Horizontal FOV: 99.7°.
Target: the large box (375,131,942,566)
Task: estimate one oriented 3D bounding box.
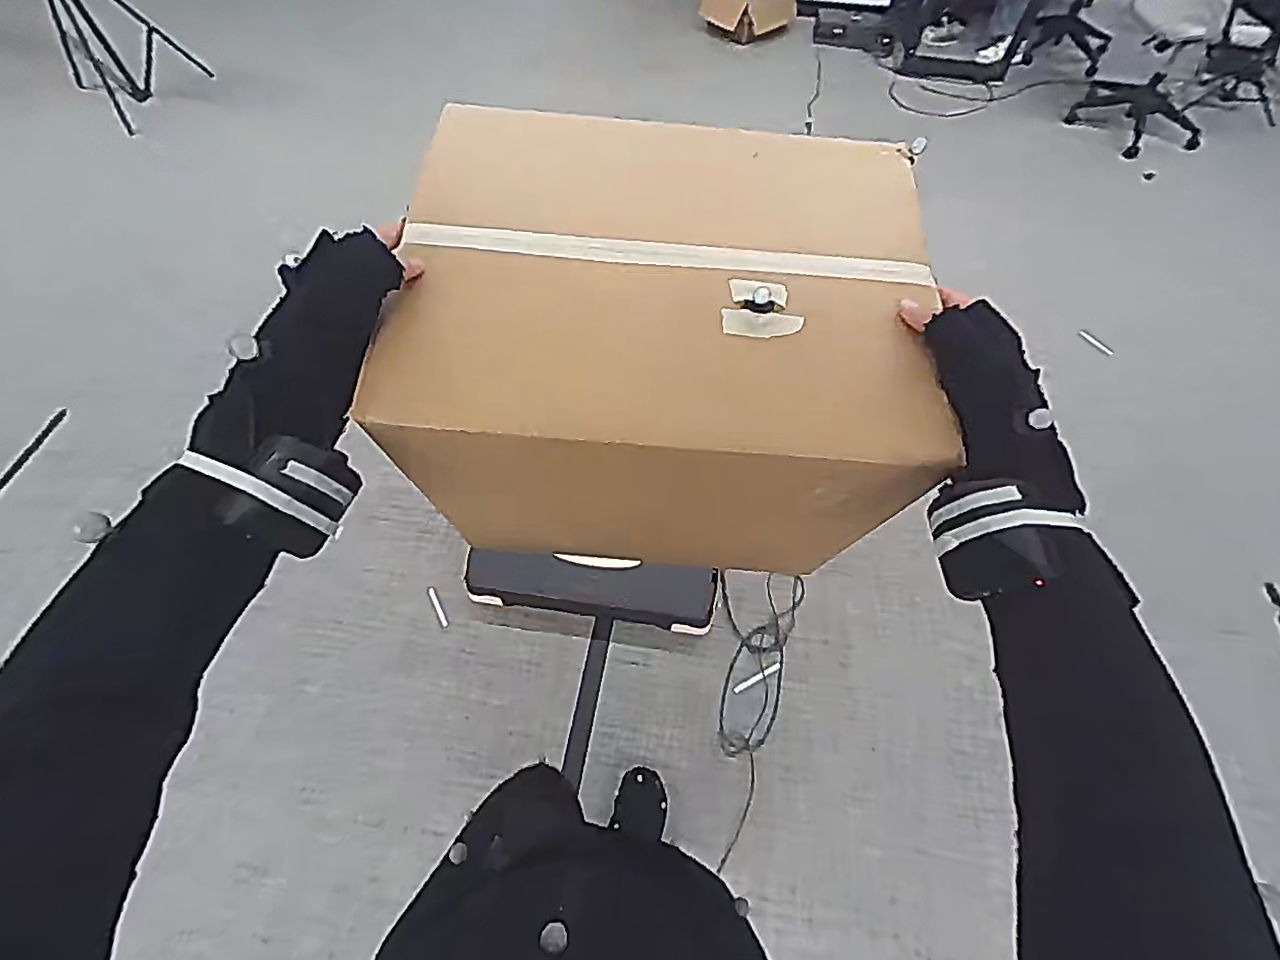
[{"bbox_3d":[0.015,-0.105,0.566,0.408,0.320,0.320,5,68,-1],"label":"large box"}]
